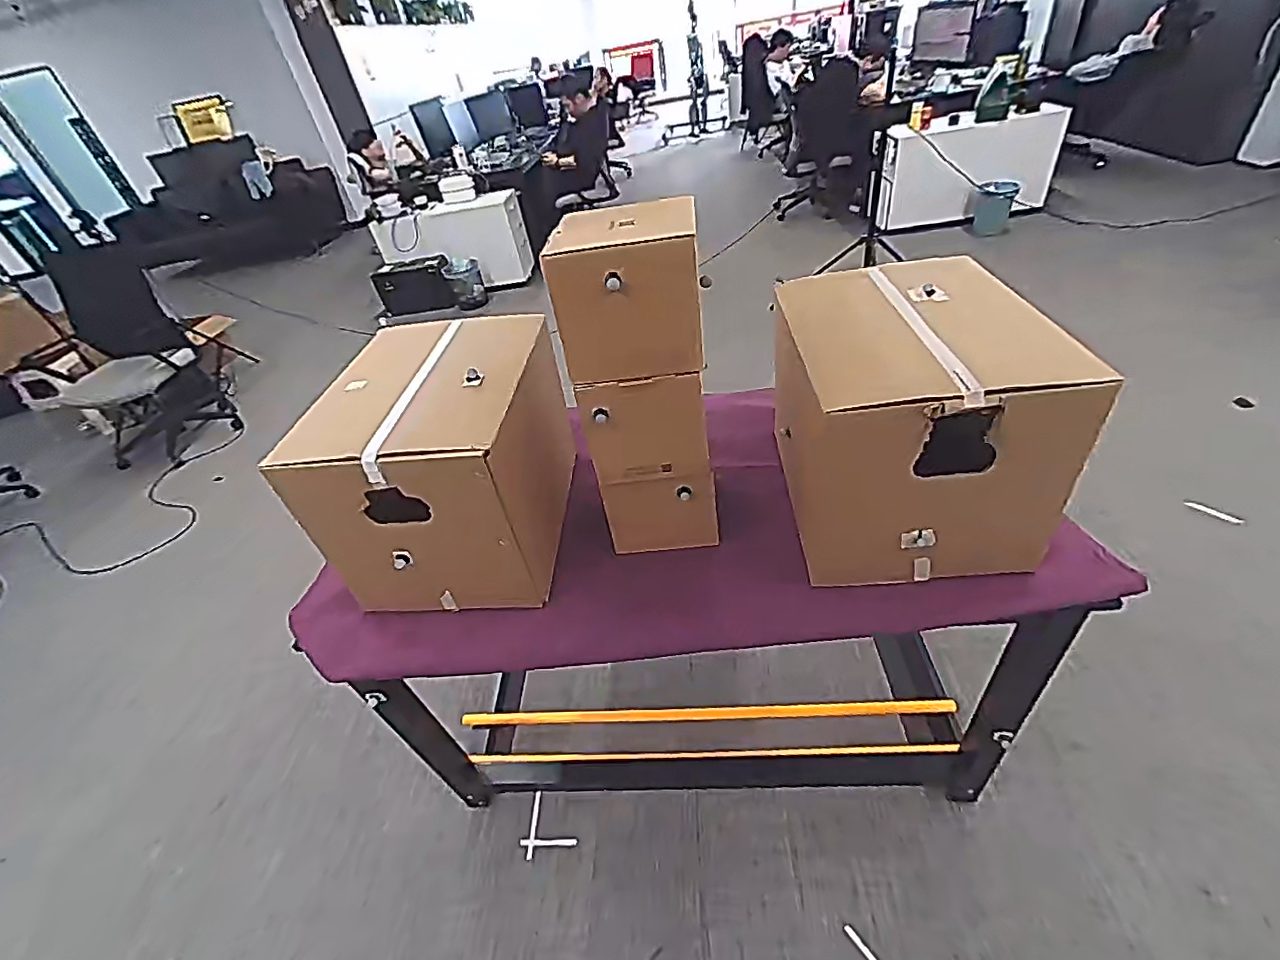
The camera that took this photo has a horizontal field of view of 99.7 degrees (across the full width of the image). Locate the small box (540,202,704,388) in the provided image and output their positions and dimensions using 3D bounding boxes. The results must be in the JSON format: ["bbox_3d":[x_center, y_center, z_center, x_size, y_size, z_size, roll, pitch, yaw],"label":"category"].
[{"bbox_3d":[-0.009,-0.236,0.699,0.179,0.176,0.168,-5,39,9],"label":"small box"}]

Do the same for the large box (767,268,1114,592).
[{"bbox_3d":[0.386,-0.089,0.834,0.320,0.320,0.408,-5,38,7],"label":"large box"}]
